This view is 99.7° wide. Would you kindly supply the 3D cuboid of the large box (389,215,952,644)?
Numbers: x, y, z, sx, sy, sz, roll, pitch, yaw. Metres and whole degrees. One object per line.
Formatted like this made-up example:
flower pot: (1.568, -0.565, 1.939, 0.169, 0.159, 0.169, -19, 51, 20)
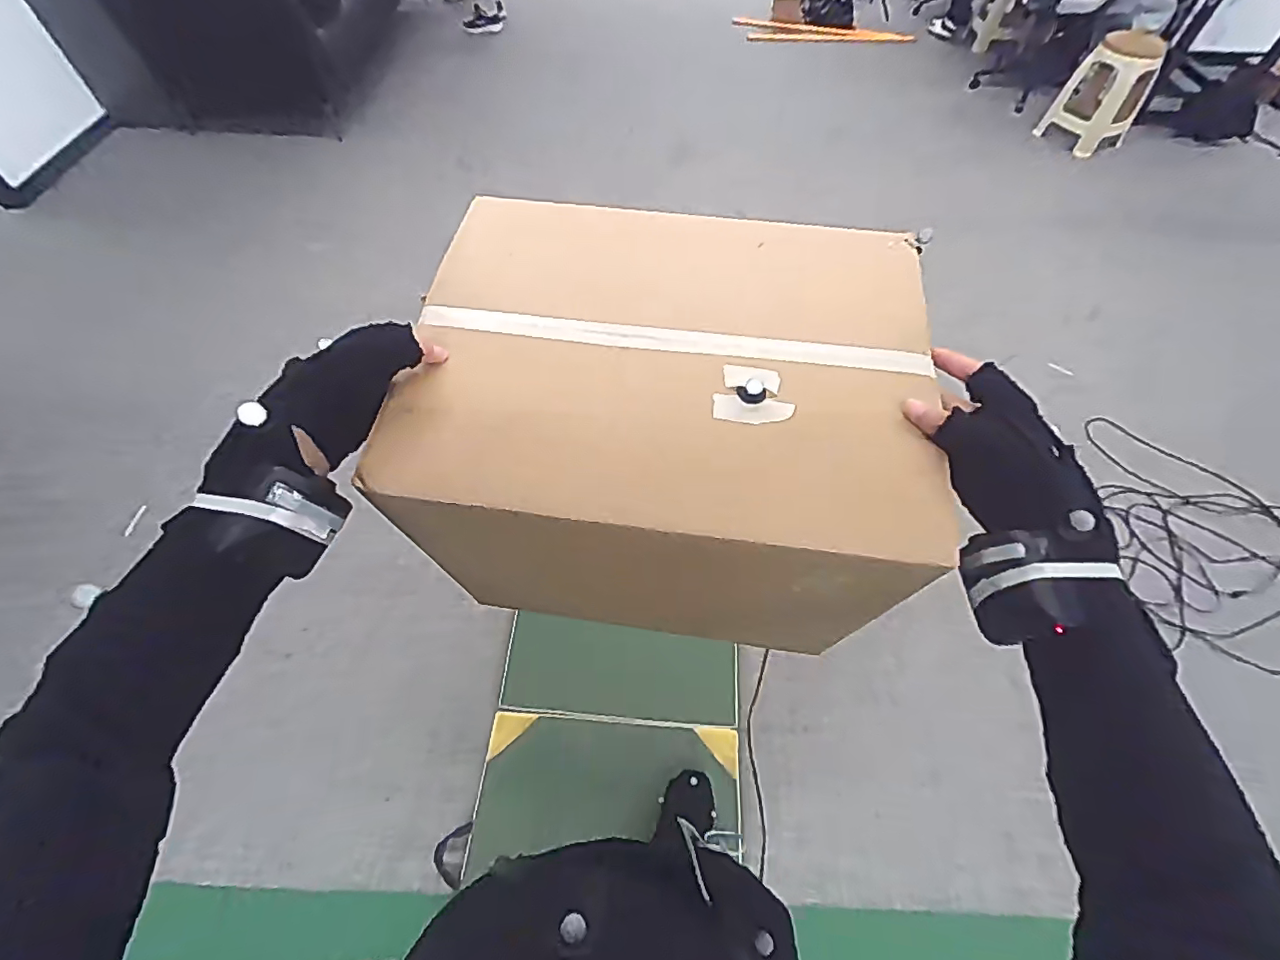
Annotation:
large box: (0.031, -0.034, 0.574, 0.408, 0.320, 0.320, 7, 63, 3)
